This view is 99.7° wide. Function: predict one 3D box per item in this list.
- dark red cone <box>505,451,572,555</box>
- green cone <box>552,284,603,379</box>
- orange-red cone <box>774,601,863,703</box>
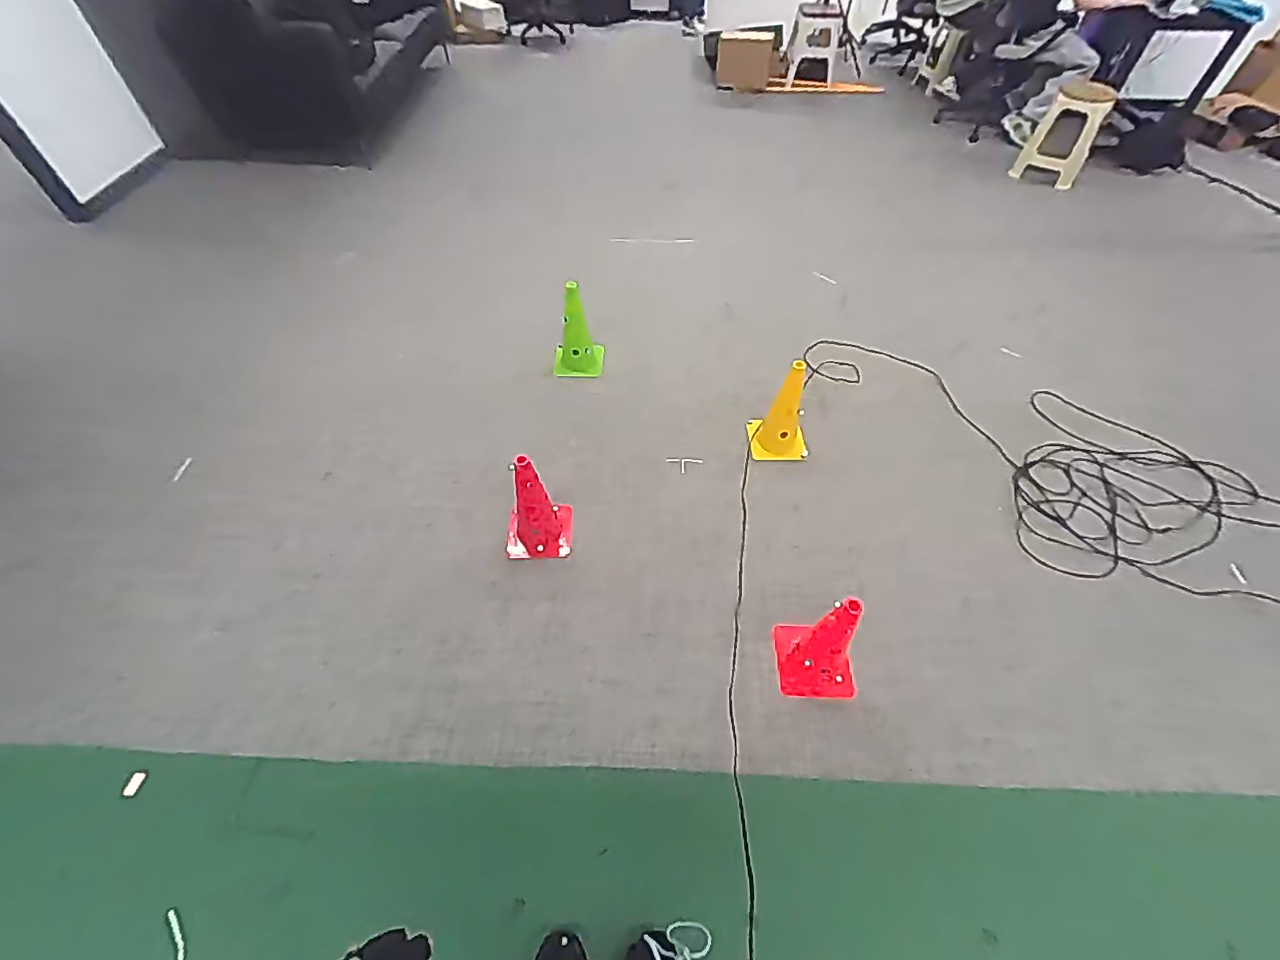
[{"bbox_3d":[-0.317,0.051,1.578,0.202,0.394,0.201,-2,53,-3],"label":"dark red cone"},{"bbox_3d":[-0.254,-0.596,2.121,0.202,0.368,0.200,1,52,-1],"label":"green cone"},{"bbox_3d":[0.474,0.395,1.345,0.198,0.360,0.199,3,51,1],"label":"orange-red cone"}]
